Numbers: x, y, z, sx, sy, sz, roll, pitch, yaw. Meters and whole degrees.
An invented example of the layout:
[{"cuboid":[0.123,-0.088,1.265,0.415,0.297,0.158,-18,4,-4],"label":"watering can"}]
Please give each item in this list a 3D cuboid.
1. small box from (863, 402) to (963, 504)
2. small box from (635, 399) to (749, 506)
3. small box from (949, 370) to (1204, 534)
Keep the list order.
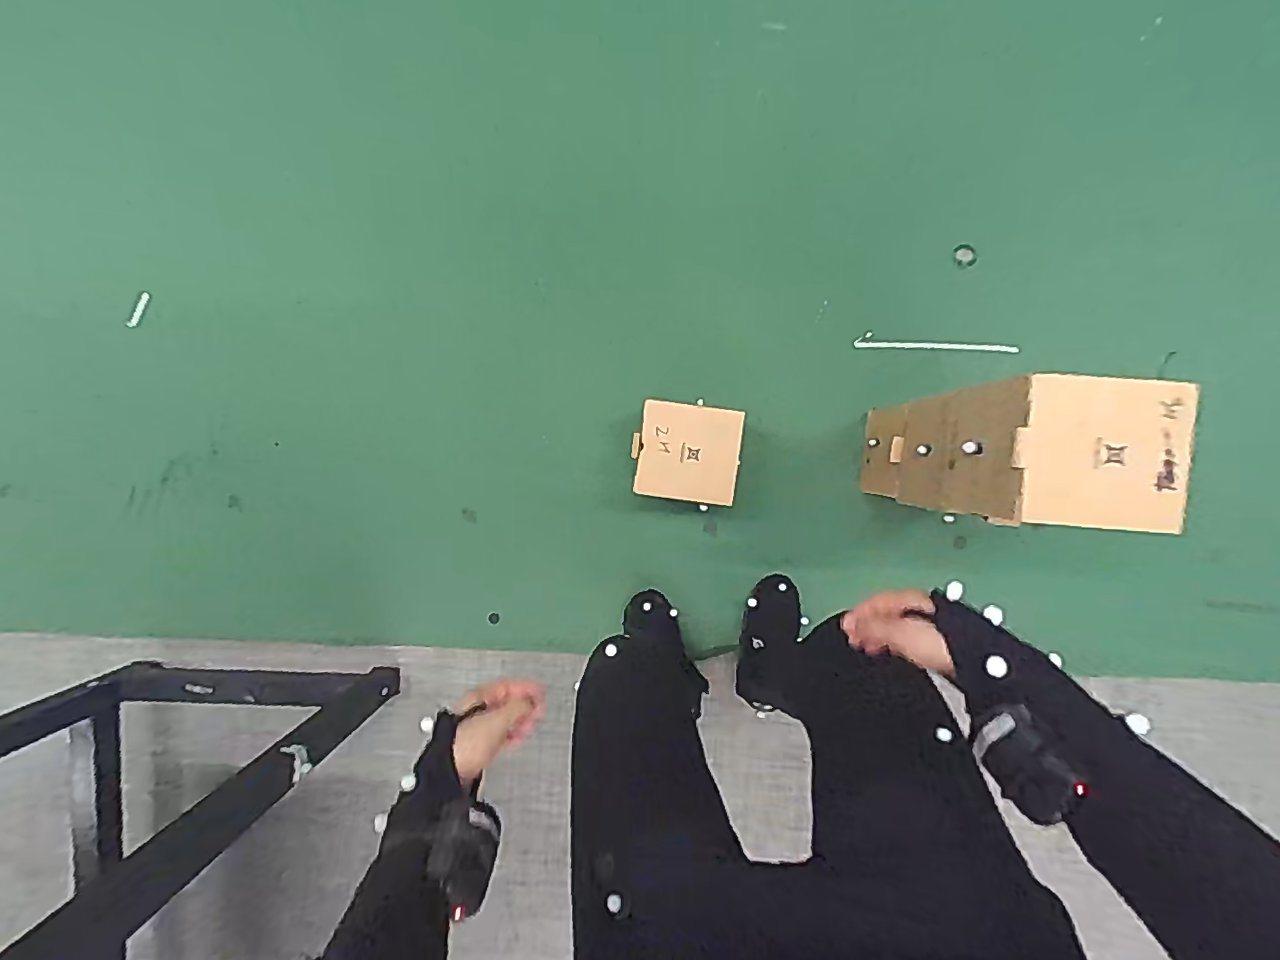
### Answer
[{"cuboid":[0.533,-0.047,0.986,0.179,0.176,0.168,6,94,2],"label":"small box"},{"cuboid":[0.091,-0.051,1.001,0.179,0.176,0.168,8,93,2],"label":"small box"},{"cuboid":[0.509,-0.032,0.659,0.179,0.176,0.168,5,93,3],"label":"small box"}]
